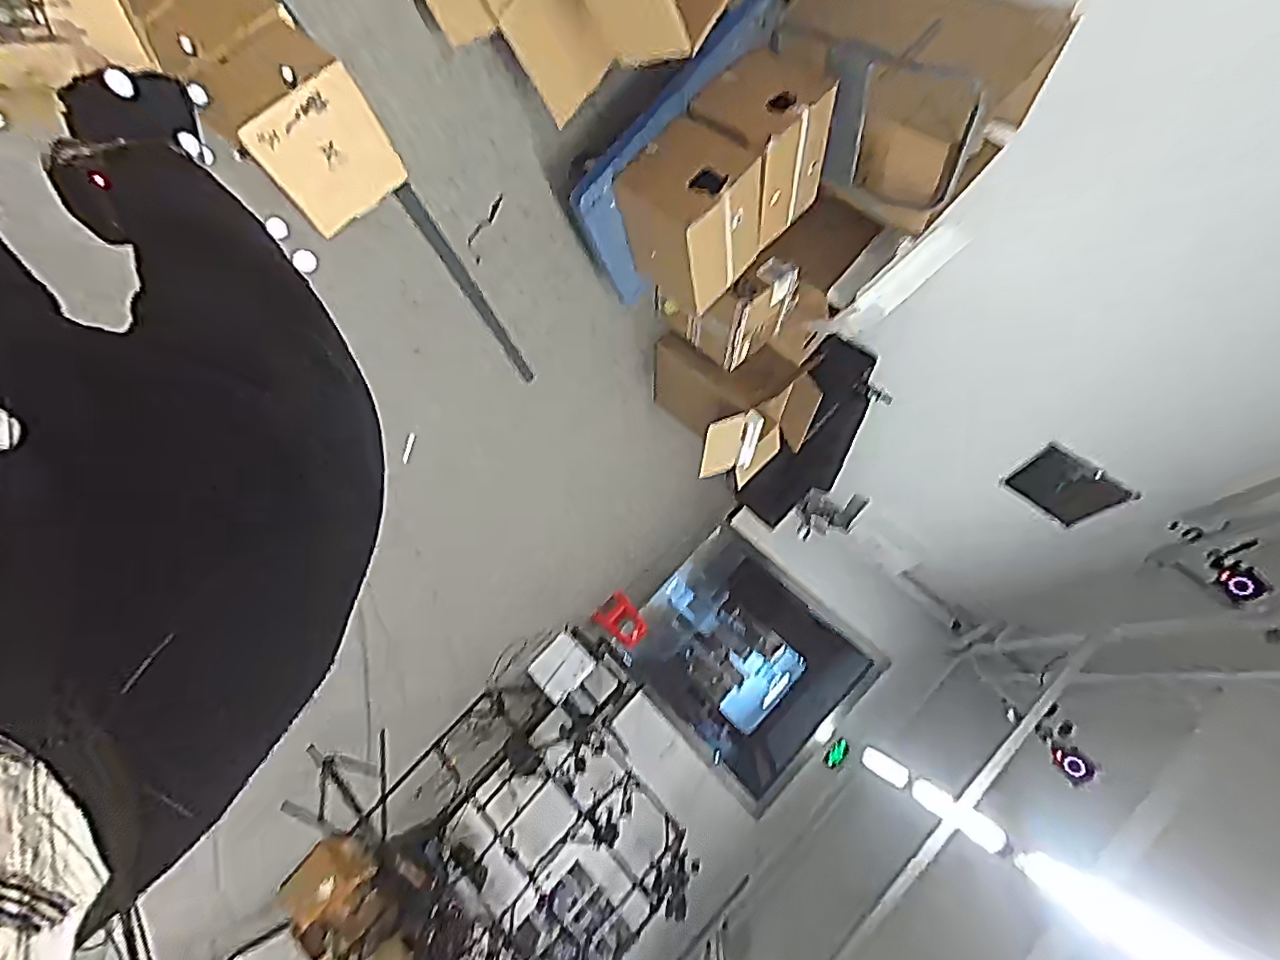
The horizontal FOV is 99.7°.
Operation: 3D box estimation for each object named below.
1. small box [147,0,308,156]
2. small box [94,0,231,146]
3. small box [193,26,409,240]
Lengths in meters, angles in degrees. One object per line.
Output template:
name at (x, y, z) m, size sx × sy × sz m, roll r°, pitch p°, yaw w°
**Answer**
small box at (-0.598, -0.617, 0.841) m, size 0.179 × 0.176 × 0.168 m, roll -45°, pitch 161°, yaw -8°
small box at (-0.722, -0.710, 0.893) m, size 0.168 × 0.176 × 0.179 m, roll -44°, pitch 160°, yaw -12°
small box at (-0.488, -0.504, 0.794) m, size 0.168 × 0.176 × 0.179 m, roll -43°, pitch 161°, yaw -10°
